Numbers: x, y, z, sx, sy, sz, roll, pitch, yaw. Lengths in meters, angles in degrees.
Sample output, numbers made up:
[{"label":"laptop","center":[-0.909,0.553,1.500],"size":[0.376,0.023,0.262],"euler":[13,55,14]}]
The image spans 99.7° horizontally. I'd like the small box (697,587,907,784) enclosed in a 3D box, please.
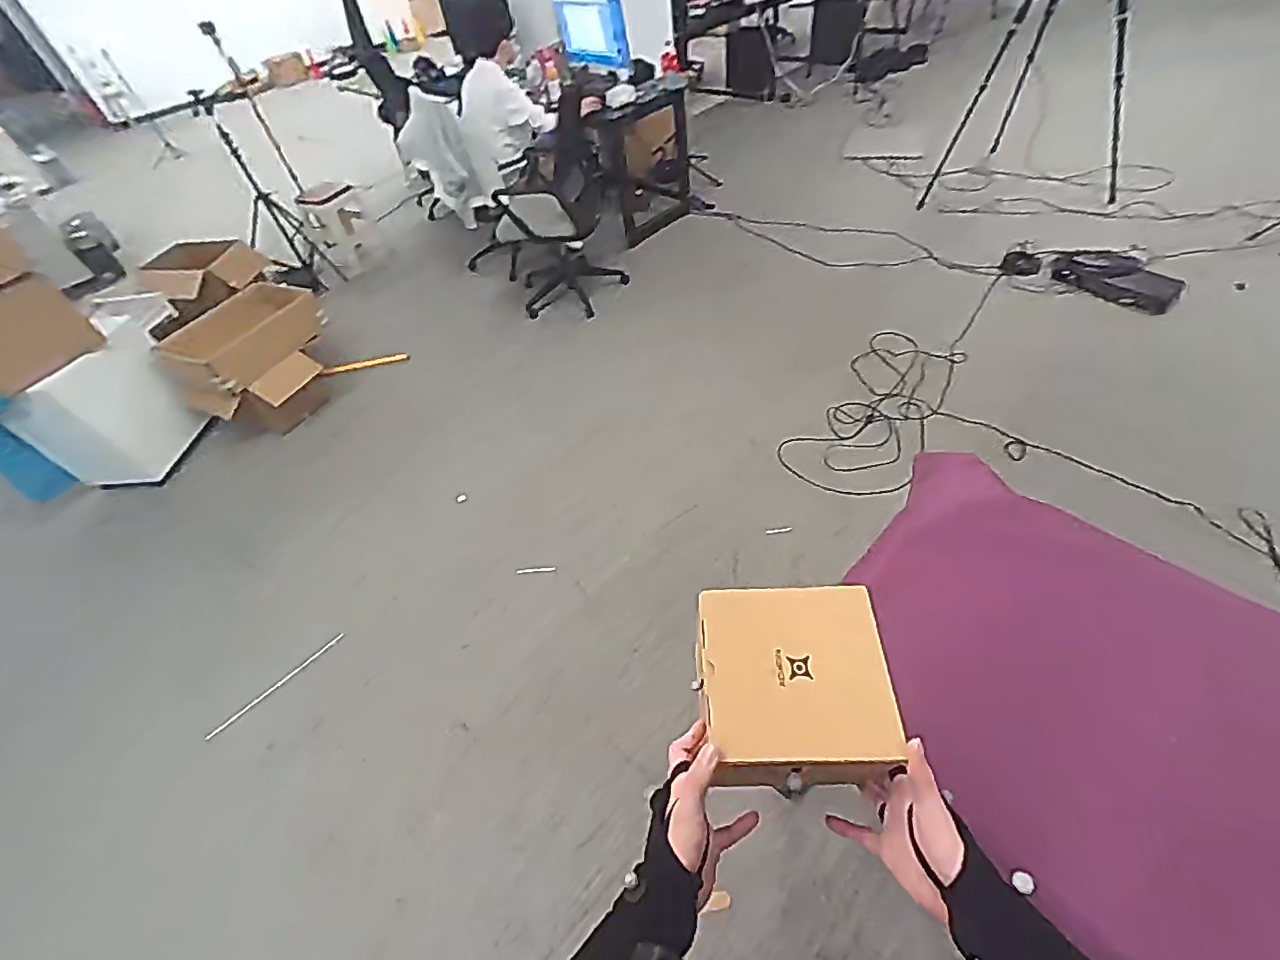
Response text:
[{"label":"small box","center":[0.155,0.227,0.587],"size":[0.179,0.176,0.168],"euler":[-4,55,4]}]
